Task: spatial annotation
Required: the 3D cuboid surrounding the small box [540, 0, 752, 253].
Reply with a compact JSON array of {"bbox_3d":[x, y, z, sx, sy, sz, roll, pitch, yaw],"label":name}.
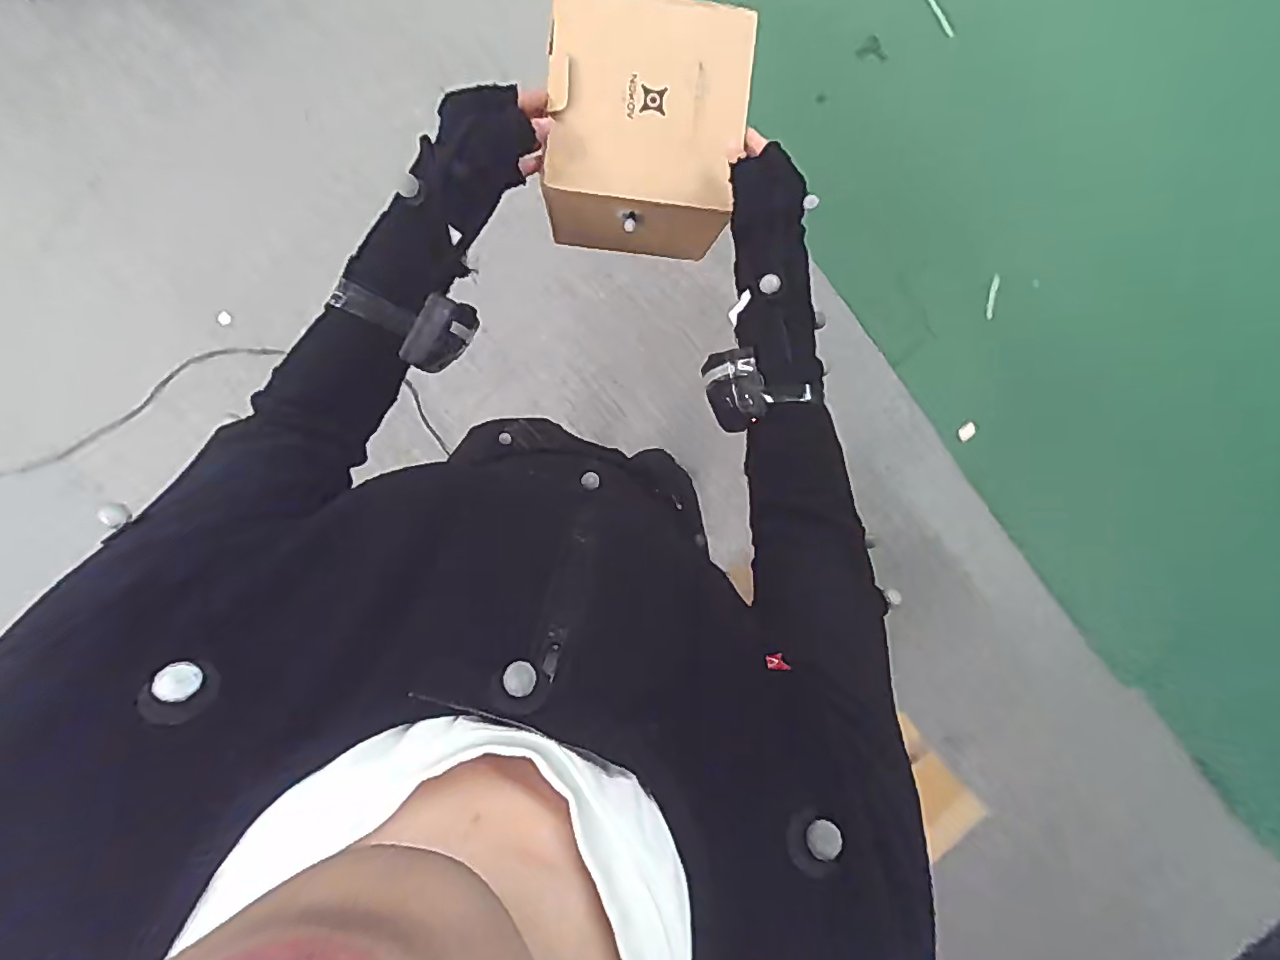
[{"bbox_3d":[-0.003,-0.341,0.545,0.179,0.176,0.168,3,98,-7],"label":"small box"}]
